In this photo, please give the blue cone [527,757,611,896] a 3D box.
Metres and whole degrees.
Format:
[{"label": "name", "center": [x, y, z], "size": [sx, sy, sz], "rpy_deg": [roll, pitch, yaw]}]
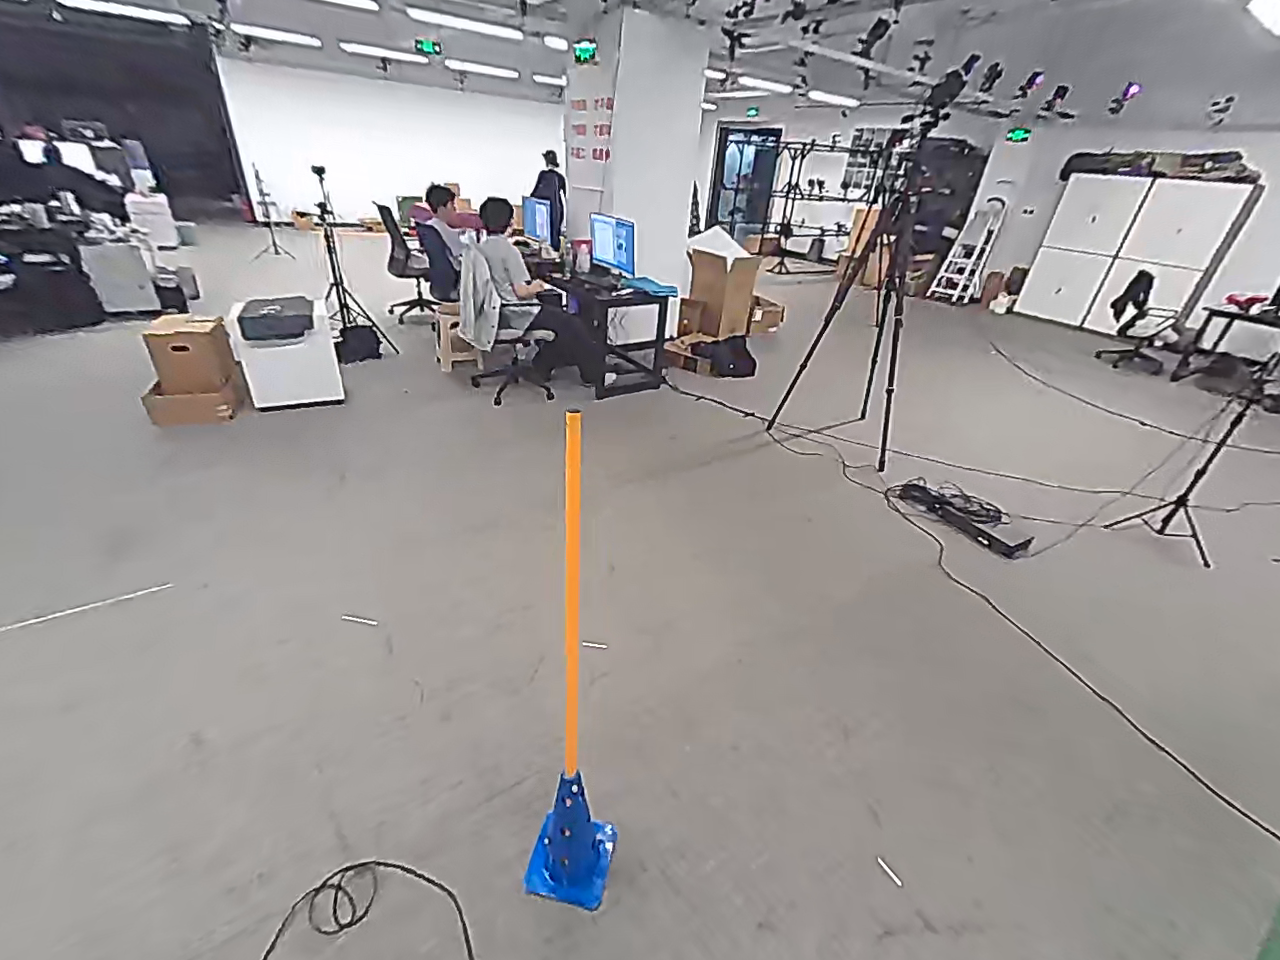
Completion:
[{"label": "blue cone", "center": [-0.169, 0.801, 1.305], "size": [0.192, 0.380, 0.193], "rpy_deg": [9, 29, 7]}]
